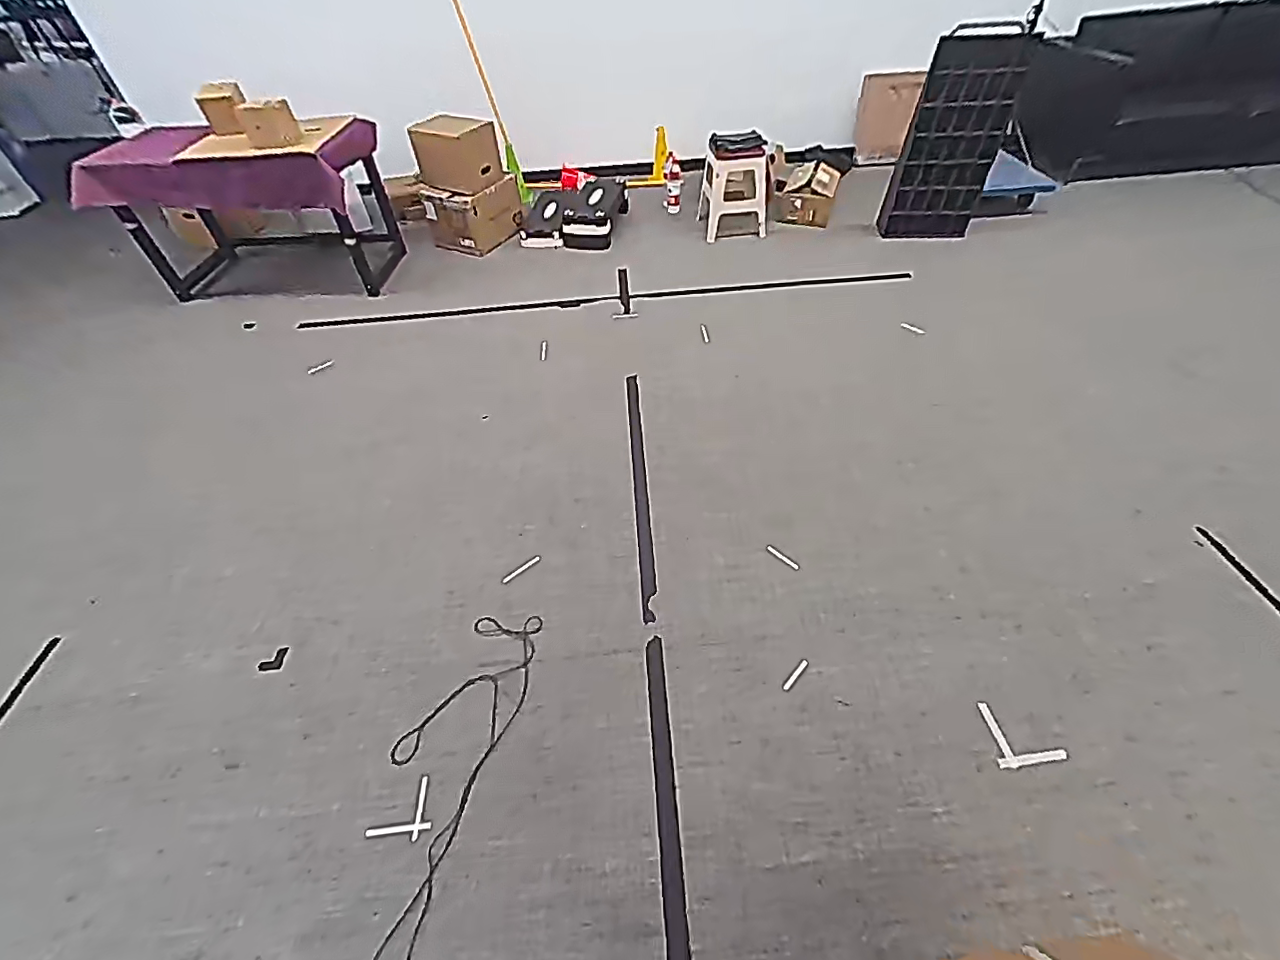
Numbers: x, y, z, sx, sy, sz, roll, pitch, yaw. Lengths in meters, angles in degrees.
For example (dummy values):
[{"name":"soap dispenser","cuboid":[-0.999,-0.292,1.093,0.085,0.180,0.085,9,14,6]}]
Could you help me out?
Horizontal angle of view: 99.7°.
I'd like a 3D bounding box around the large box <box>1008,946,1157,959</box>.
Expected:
[{"name":"large box","cuboid":[0.584,0.766,0.538,0.320,0.408,0.320,-6,72,-3]}]
